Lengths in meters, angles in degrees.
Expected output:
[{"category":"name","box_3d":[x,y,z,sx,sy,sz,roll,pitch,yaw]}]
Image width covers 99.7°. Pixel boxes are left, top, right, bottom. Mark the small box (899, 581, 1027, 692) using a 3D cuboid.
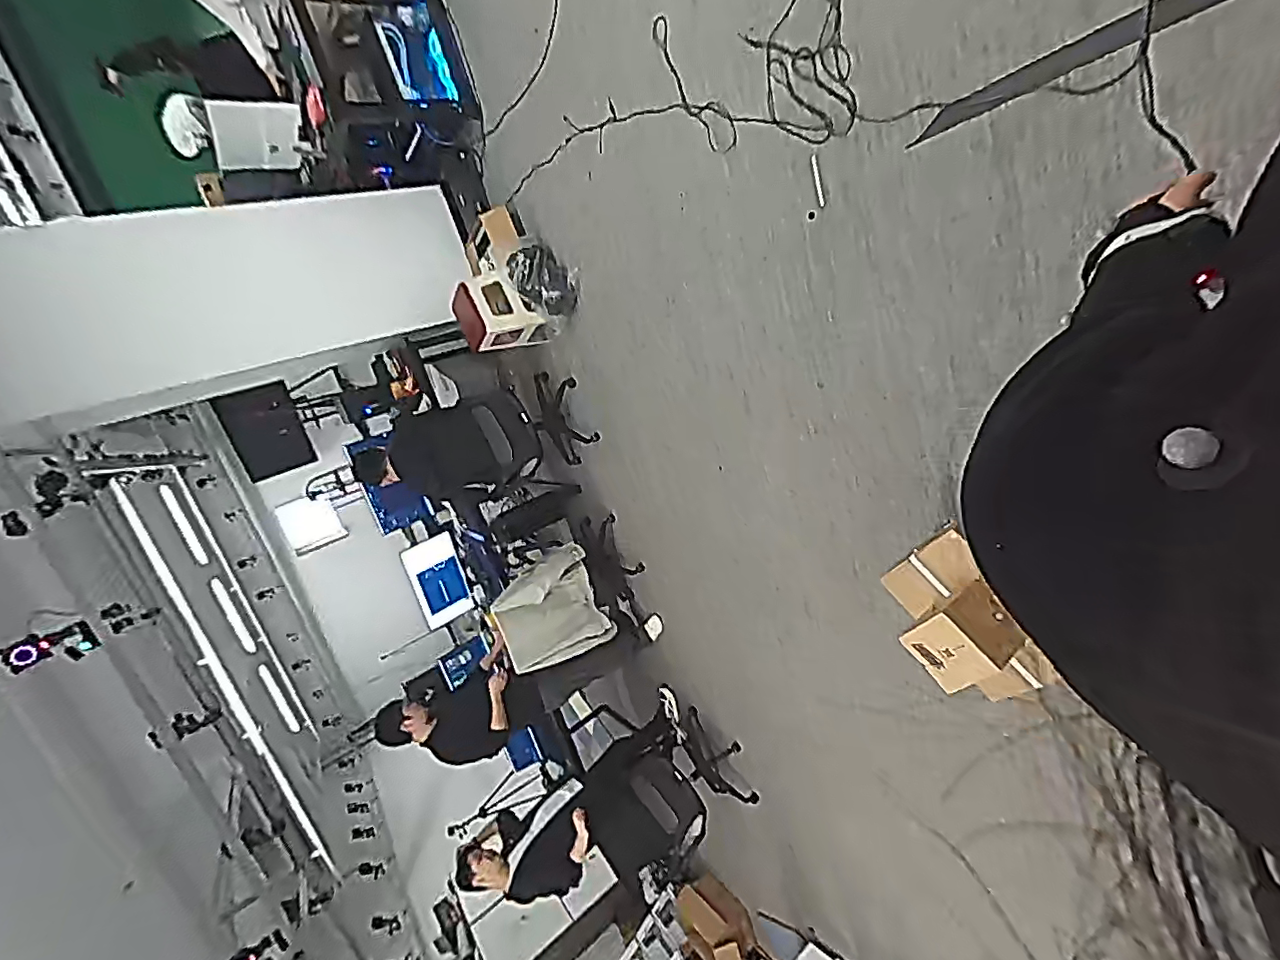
[{"category":"small box","box_3d":[0.779,0.375,1.305,0.168,0.176,0.179,51,147,22]}]
